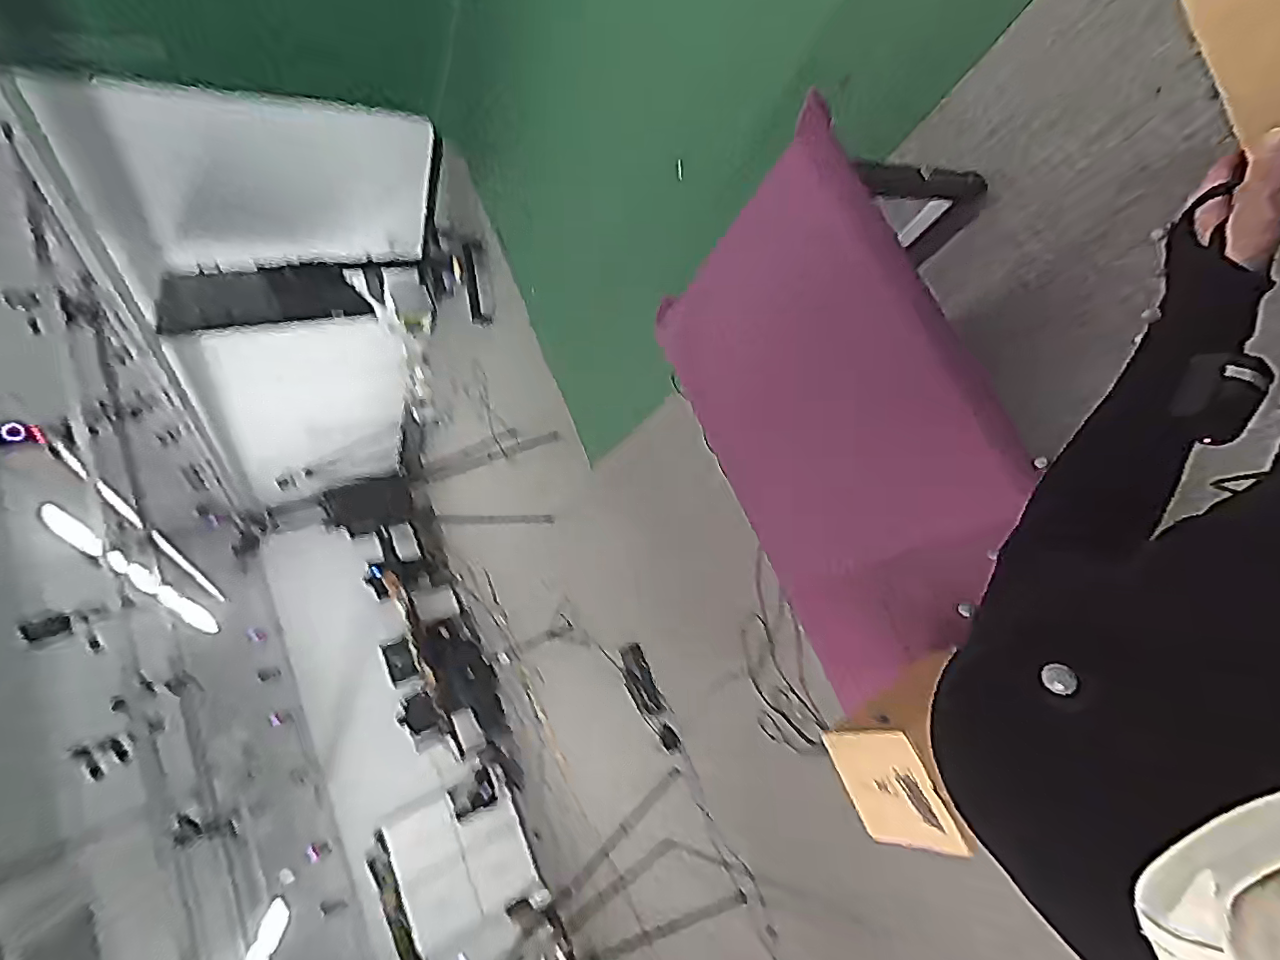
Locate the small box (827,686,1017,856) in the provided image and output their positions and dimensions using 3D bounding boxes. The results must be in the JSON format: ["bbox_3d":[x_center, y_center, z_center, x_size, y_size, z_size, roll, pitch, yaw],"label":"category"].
[{"bbox_3d":[0.435,0.433,0.831,0.168,0.176,0.179,65,148,14],"label":"small box"}]
